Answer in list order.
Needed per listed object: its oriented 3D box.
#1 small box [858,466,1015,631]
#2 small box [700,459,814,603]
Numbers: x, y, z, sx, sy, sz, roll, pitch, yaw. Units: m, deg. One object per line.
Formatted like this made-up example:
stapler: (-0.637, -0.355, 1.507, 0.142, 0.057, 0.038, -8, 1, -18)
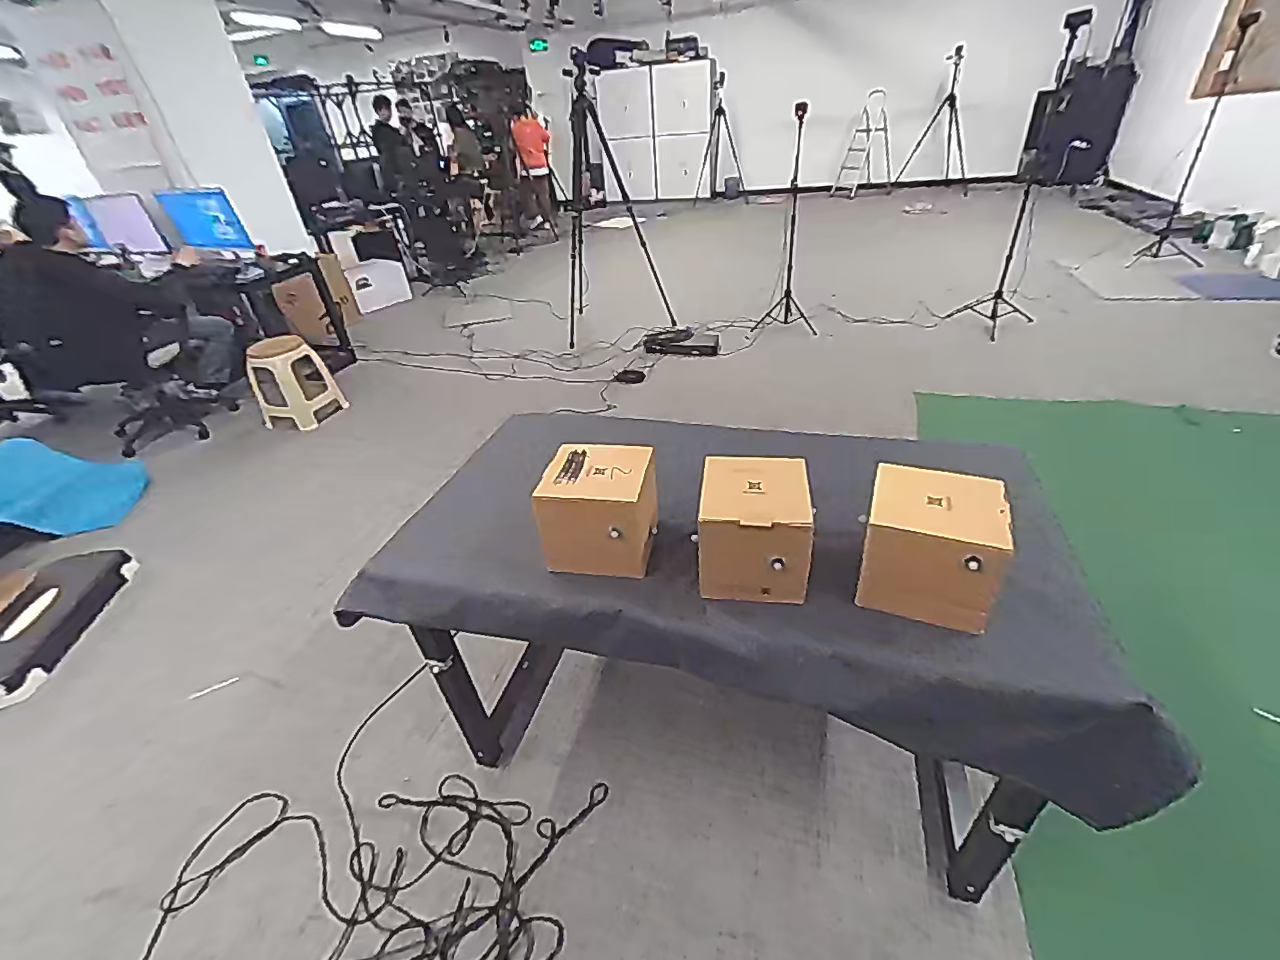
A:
small box: (0.439, 0.102, 0.823, 0.179, 0.176, 0.168, 11, 37, 22)
small box: (0.187, 0.082, 0.888, 0.168, 0.176, 0.179, 2, 34, 9)
